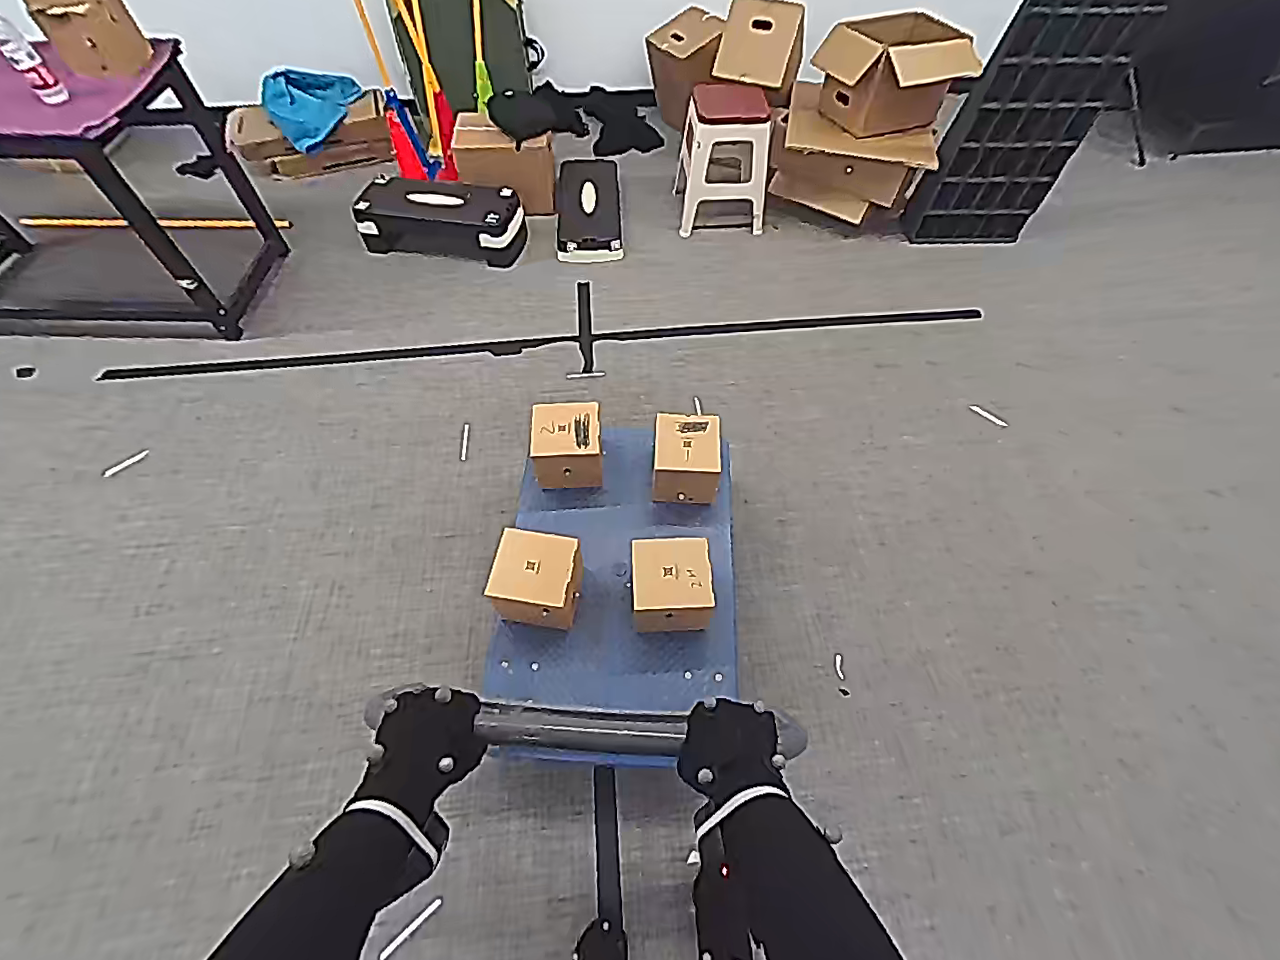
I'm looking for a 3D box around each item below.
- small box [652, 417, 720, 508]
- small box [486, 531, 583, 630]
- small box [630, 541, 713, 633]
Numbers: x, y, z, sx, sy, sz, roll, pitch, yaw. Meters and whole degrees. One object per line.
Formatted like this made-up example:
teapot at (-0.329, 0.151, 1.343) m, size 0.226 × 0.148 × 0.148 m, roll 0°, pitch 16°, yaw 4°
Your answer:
small box at (0.121, -0.045, 1.444) m, size 0.168 × 0.176 × 0.179 m, roll 3°, pitch 60°, yaw 1°
small box at (-0.238, 0.240, 1.266) m, size 0.179 × 0.176 × 0.168 m, roll 9°, pitch 58°, yaw 3°
small box at (0.068, 0.254, 1.261) m, size 0.179 × 0.176 × 0.168 m, roll -1°, pitch 59°, yaw -2°
